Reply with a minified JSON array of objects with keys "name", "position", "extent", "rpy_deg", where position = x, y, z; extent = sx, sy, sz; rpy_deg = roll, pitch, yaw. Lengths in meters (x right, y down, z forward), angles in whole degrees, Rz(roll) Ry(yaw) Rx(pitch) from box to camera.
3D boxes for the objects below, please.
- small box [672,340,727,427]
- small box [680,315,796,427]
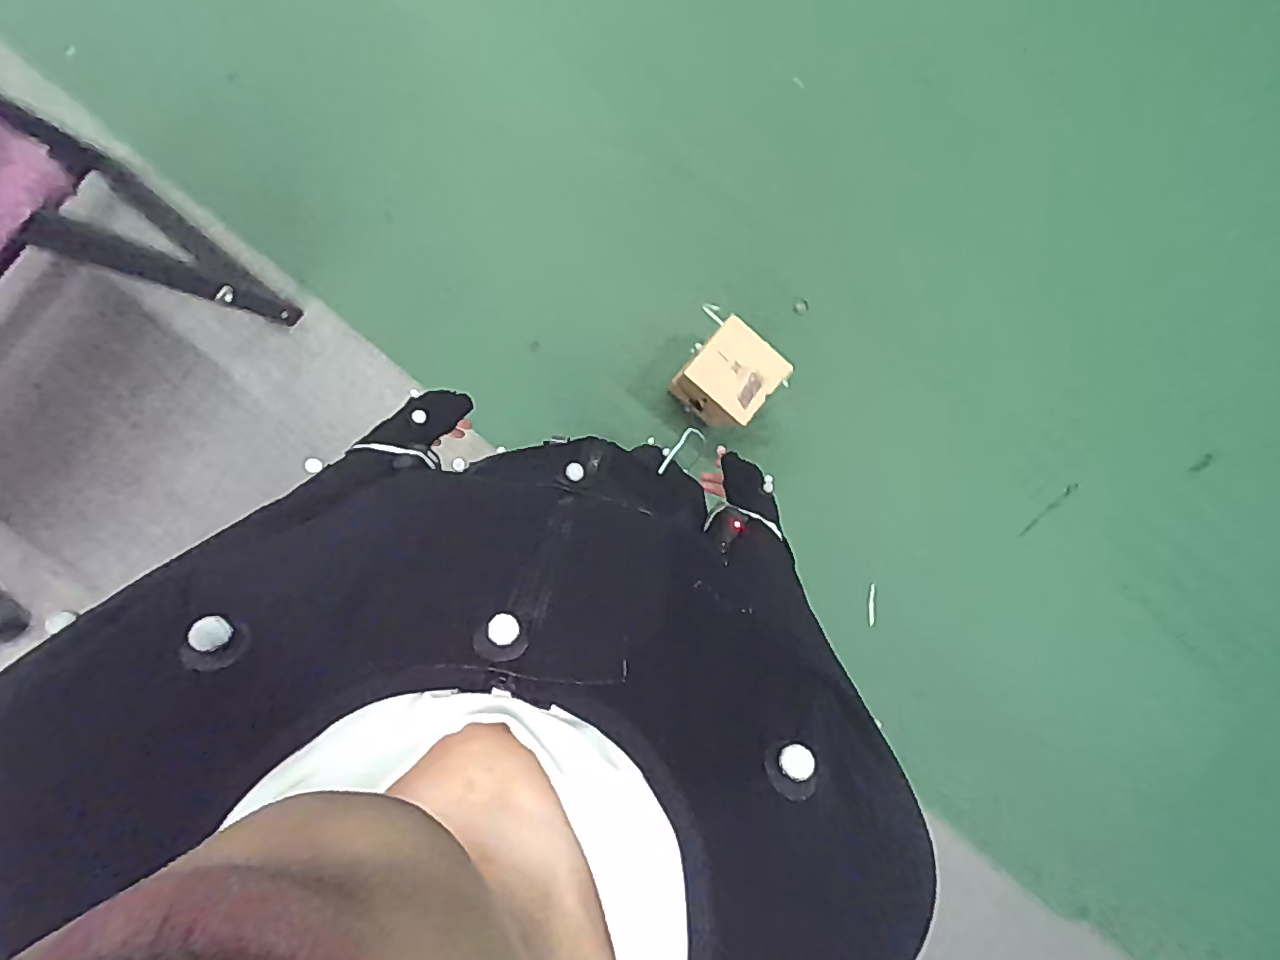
[{"name":"small box","position":[0.198,-0.253,1.381],"extent":[0.168,0.176,0.179],"rpy_deg":[41,92,-4]},{"name":"small box","position":[0.211,-0.237,1.216],"extent":[0.179,0.176,0.168],"rpy_deg":[44,90,-6]}]
